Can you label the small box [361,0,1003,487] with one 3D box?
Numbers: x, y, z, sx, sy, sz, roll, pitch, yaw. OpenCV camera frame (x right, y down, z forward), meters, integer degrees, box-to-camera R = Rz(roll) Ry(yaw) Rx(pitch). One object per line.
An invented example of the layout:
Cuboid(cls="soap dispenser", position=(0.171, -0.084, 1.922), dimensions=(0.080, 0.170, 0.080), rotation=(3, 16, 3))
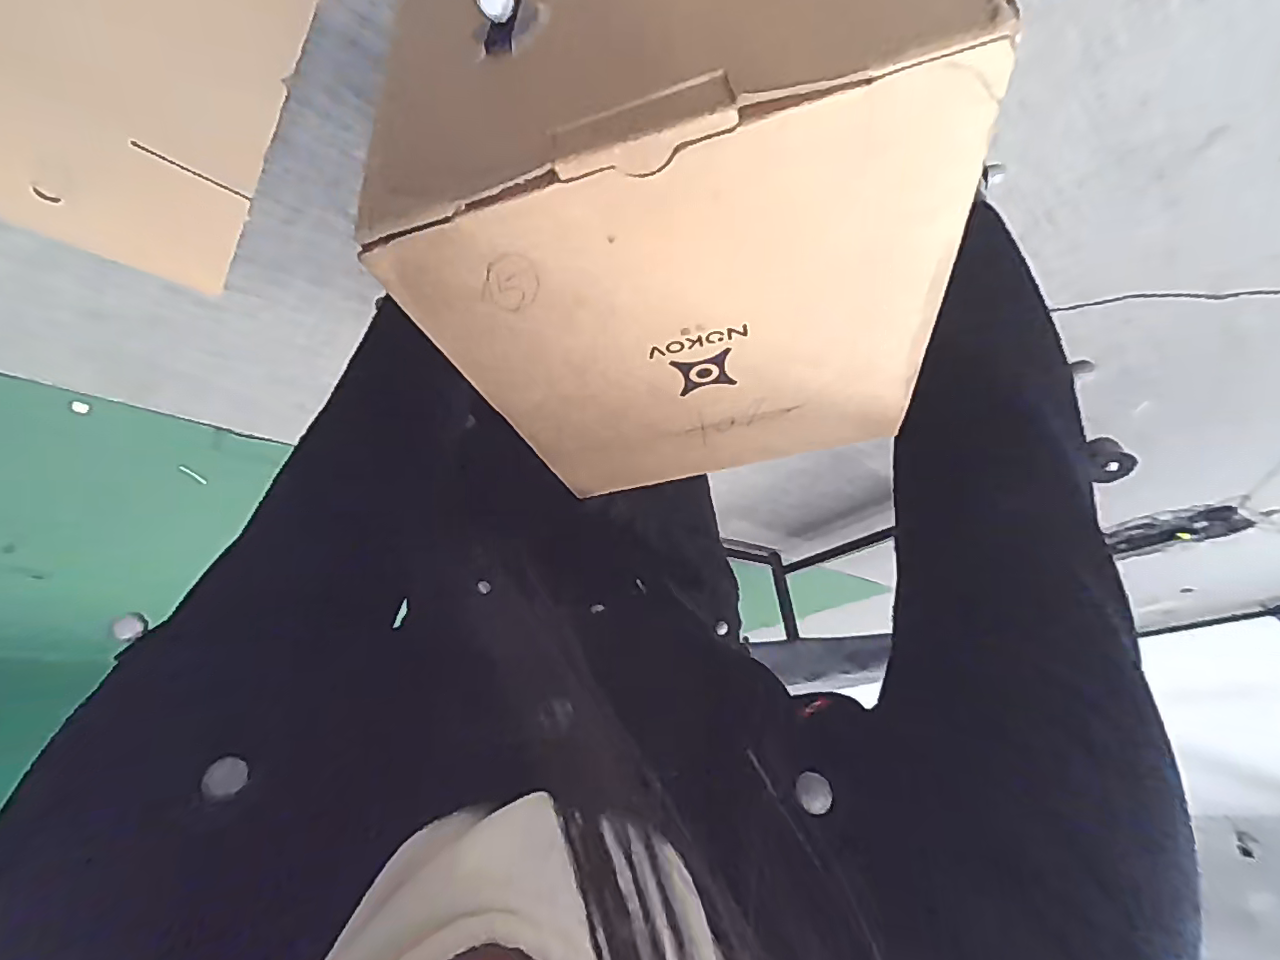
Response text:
Cuboid(cls="small box", position=(0.016, -0.120, 0.238), dimensions=(0.168, 0.176, 0.179), rotation=(-11, 153, 13))
